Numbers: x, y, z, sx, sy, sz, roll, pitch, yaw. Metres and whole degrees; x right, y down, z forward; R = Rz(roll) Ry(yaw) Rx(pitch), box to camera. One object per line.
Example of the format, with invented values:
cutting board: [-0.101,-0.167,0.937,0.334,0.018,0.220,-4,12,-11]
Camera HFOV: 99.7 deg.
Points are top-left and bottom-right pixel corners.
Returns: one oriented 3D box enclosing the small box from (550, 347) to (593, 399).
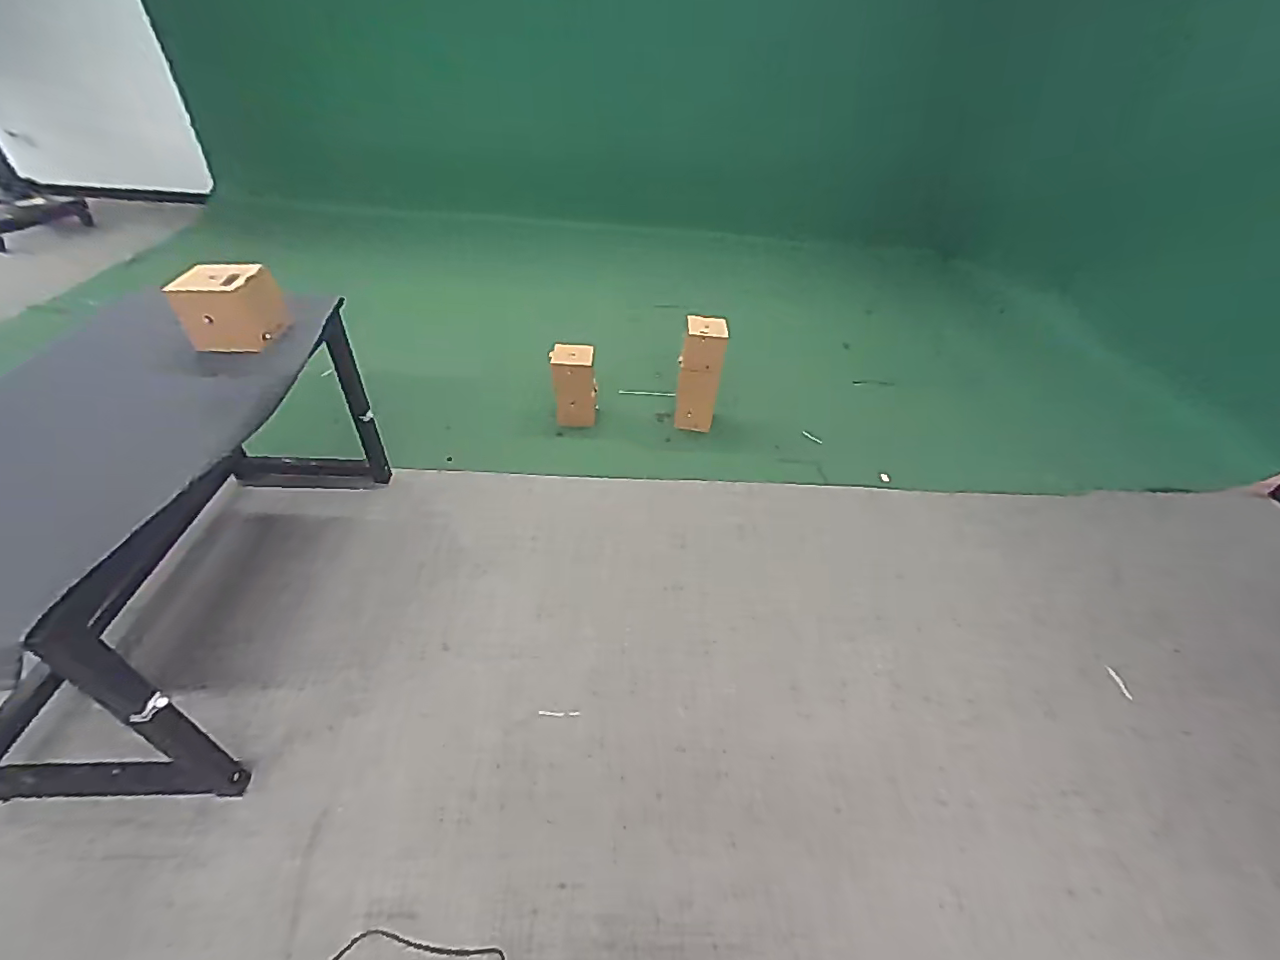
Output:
small box: [-0.301,-0.471,2.390,0.179,0.176,0.168,4,43,-3]

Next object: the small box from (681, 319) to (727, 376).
small box: [0.271,-0.571,2.323,0.168,0.176,0.179,6,41,-2]

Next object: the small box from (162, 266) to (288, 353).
small box: [-1.072,-0.444,1.417,0.179,0.176,0.168,0,43,-2]

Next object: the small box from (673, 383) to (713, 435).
small box: [0.251,-0.334,2.550,0.168,0.176,0.179,8,42,1]

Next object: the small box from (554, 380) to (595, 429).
small box: [-0.301,-0.351,2.501,0.179,0.176,0.168,2,43,-4]
